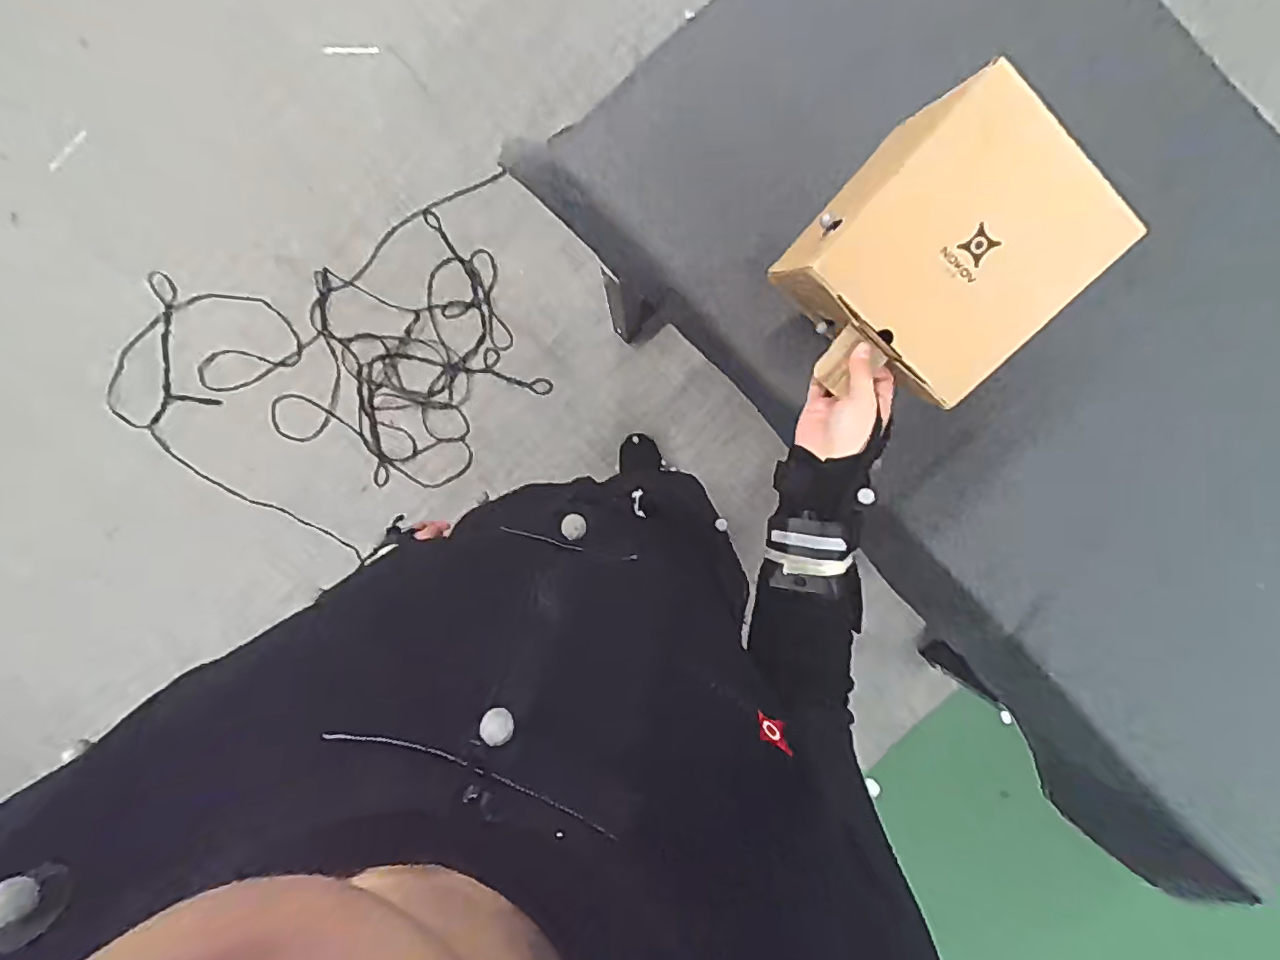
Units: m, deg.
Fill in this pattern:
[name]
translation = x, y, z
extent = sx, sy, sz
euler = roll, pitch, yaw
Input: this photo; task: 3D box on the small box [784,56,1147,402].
[small box]
translation = 0.252, -0.199, 0.471
extent = 0.168, 0.176, 0.179
euler = 39, 107, -11
